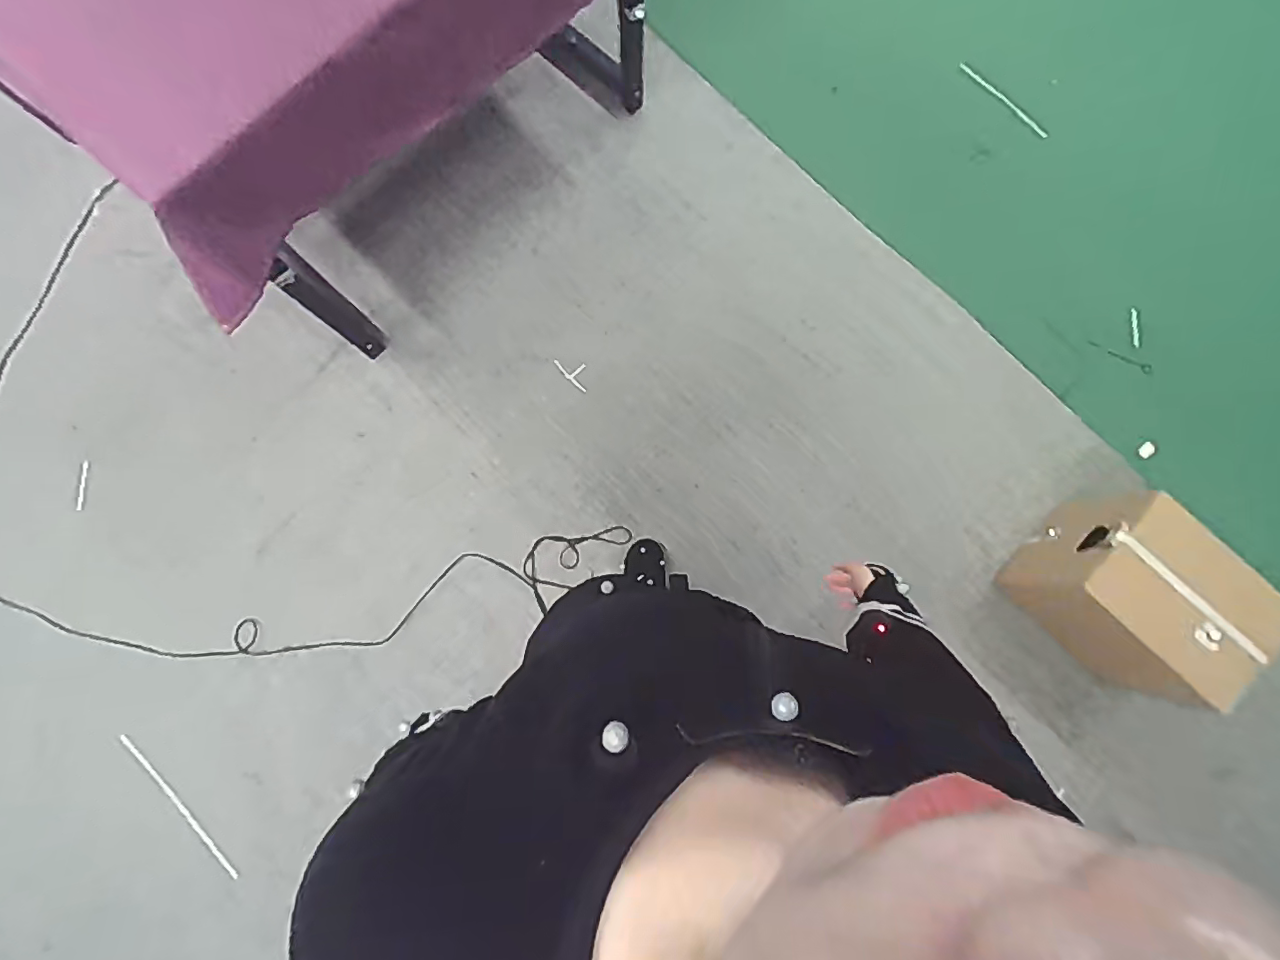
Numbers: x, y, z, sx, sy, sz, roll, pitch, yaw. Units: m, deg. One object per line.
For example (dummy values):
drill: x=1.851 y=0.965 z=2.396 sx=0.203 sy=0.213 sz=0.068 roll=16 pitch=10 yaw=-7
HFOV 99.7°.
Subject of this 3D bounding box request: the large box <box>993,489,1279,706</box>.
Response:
large box: x=1.229 y=0.281 z=1.369 sx=0.408 sy=0.320 sz=0.320 roll=45 pitch=83 yaw=4
